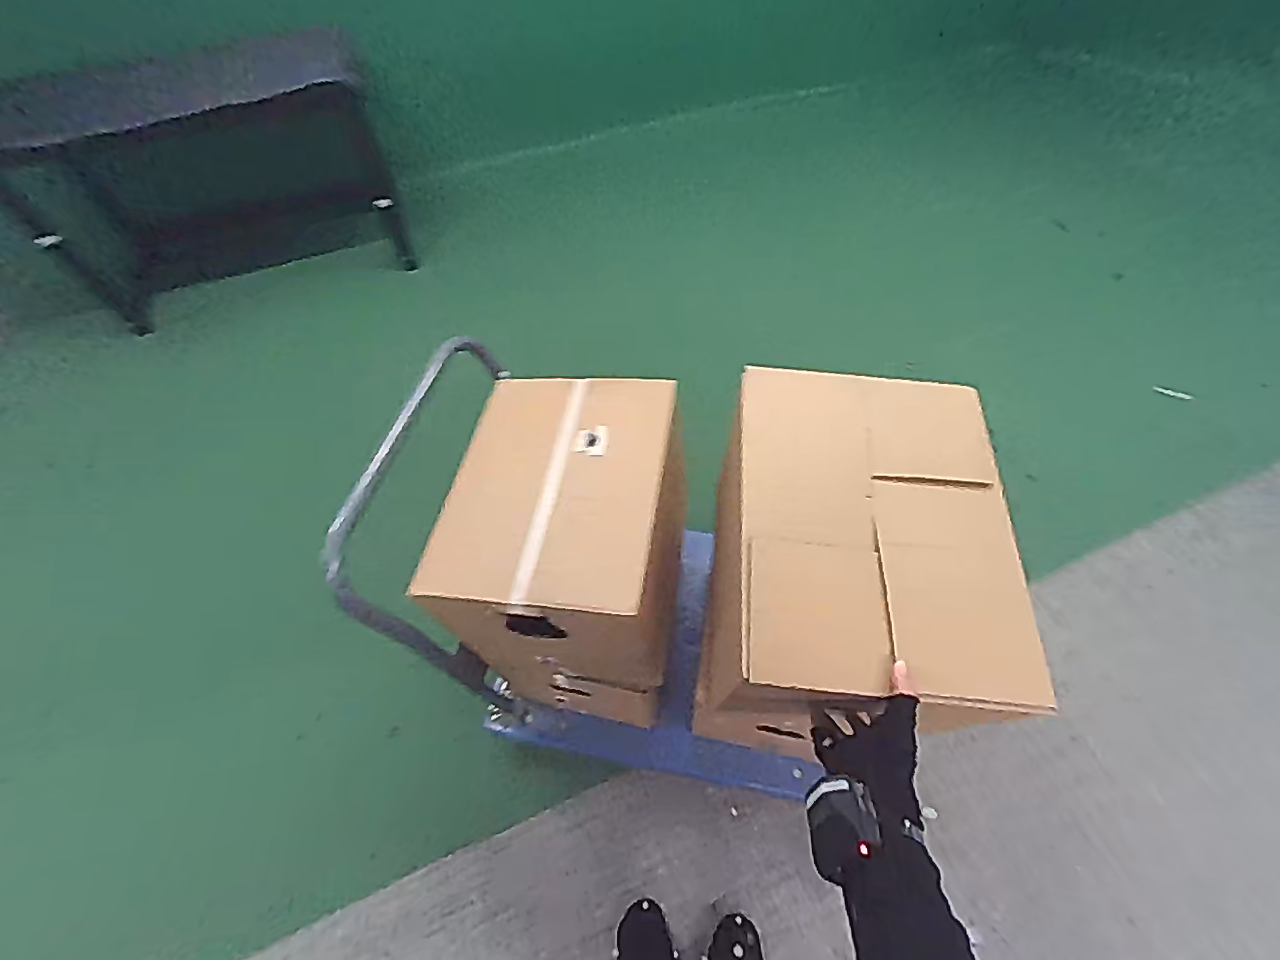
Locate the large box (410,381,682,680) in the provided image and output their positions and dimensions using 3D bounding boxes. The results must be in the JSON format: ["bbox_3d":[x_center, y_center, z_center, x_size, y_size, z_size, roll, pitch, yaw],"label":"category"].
[{"bbox_3d":[-0.111,0.085,0.916,0.320,0.320,0.408,3,54,12],"label":"large box"}]
